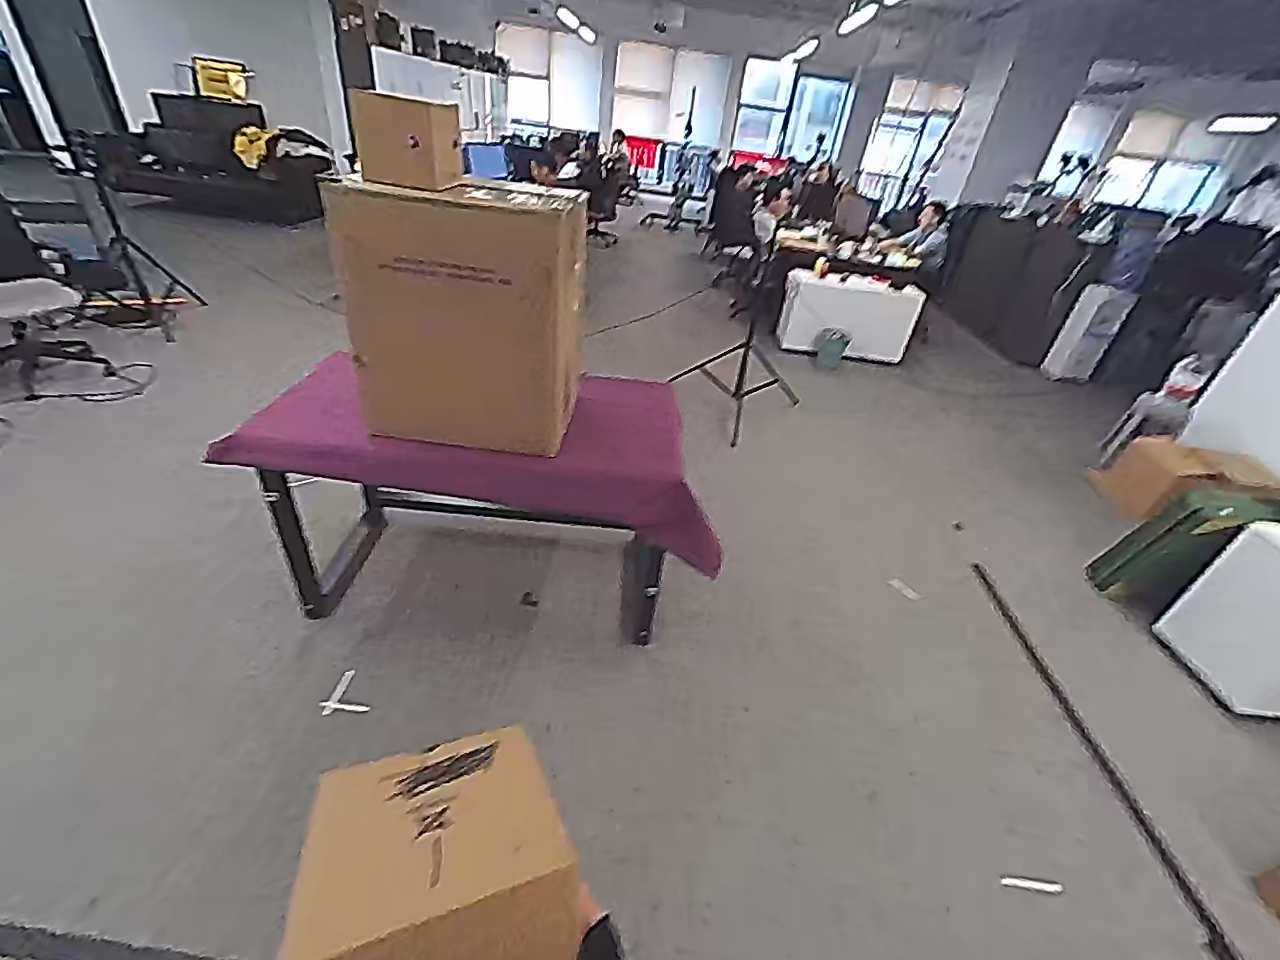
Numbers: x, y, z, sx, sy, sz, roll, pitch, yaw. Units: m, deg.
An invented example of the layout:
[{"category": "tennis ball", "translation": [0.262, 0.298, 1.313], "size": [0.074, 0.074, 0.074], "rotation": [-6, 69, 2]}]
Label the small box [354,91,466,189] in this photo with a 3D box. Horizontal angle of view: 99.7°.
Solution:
[{"category": "small box", "translation": [-0.508, -0.766, 1.225], "size": [0.179, 0.176, 0.168], "rotation": [8, 33, 1]}]
